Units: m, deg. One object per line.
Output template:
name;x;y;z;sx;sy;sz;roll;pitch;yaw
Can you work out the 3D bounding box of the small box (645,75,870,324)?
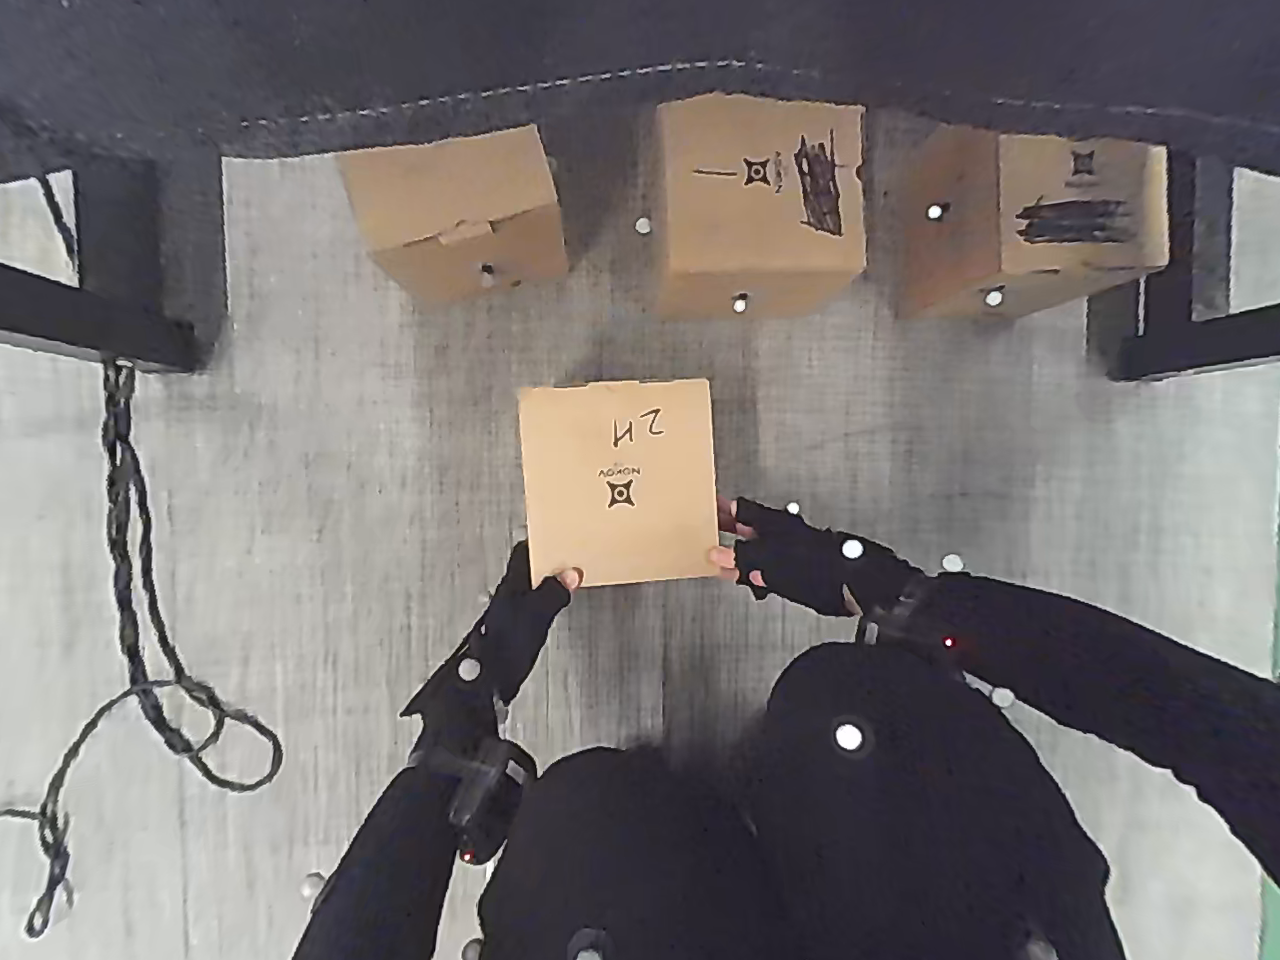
small box;0.103;-0.257;0.536;0.179;0.176;0.168;-3;93;-5
